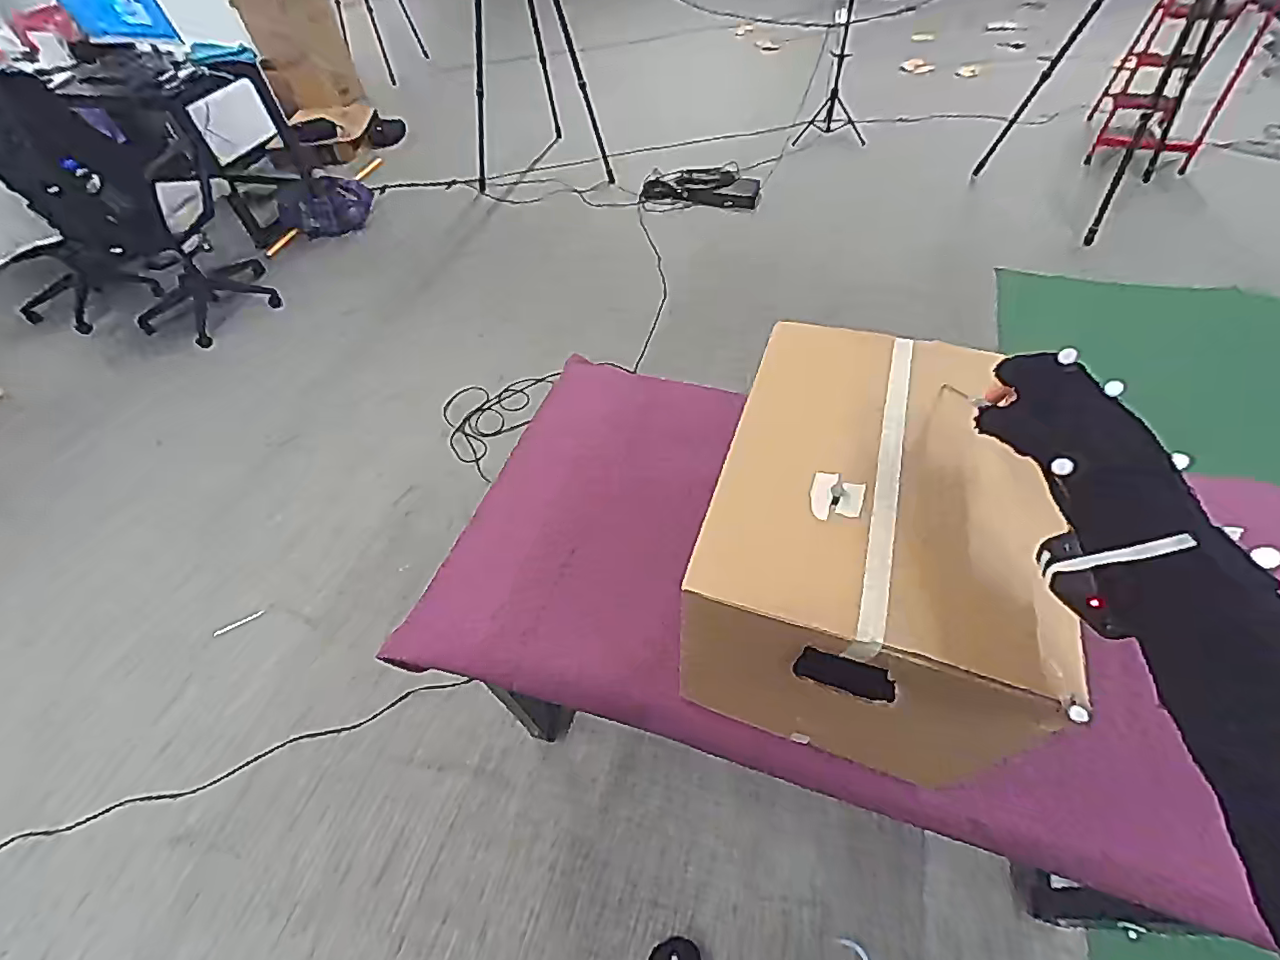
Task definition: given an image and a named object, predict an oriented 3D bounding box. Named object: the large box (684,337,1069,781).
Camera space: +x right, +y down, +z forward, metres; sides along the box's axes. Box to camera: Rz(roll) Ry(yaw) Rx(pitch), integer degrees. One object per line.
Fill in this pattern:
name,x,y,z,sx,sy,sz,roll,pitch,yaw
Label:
large box,0.259,0.088,0.678,0.320,0.320,0.408,14,54,15
